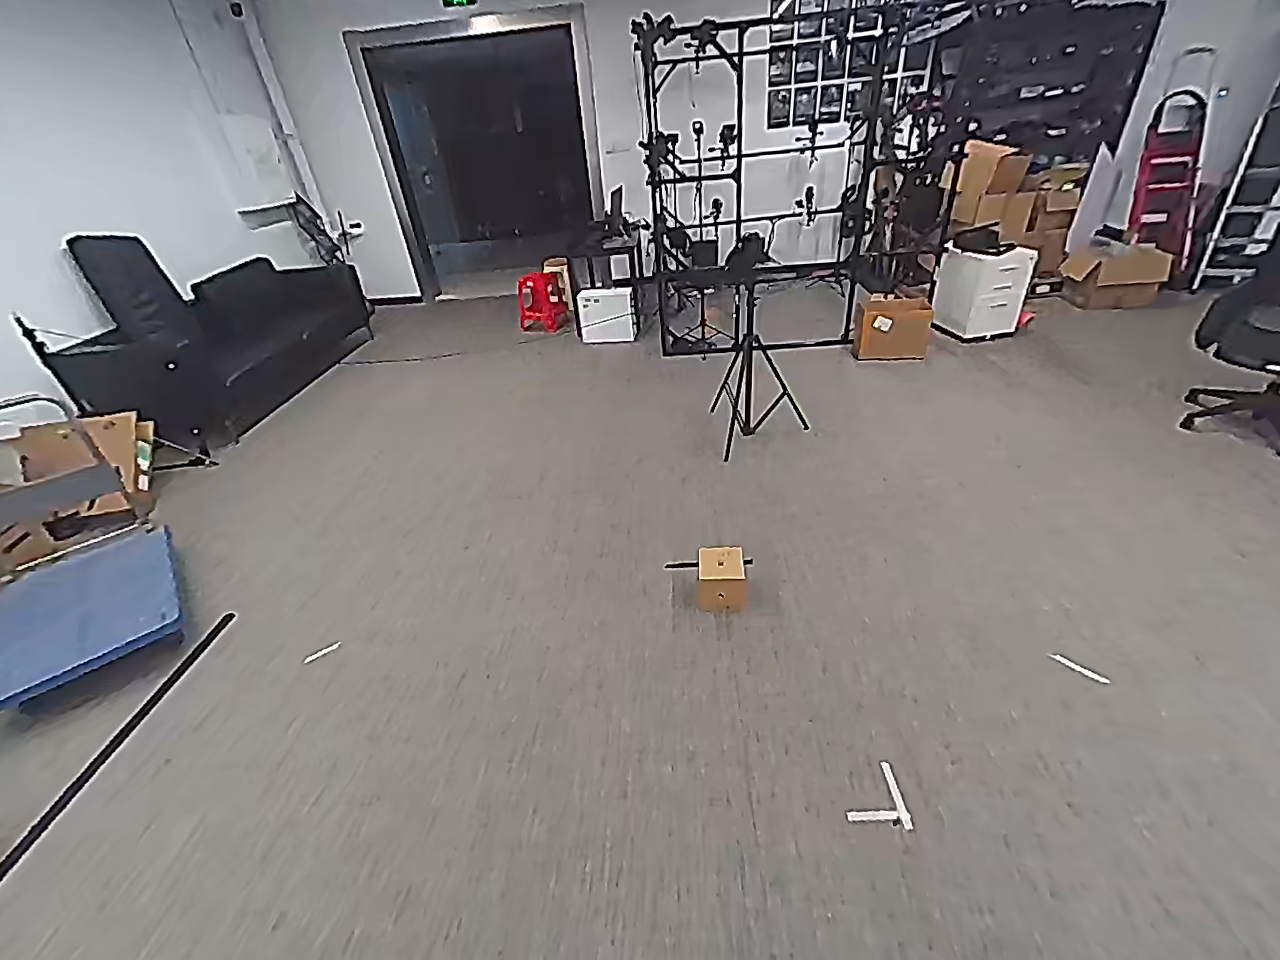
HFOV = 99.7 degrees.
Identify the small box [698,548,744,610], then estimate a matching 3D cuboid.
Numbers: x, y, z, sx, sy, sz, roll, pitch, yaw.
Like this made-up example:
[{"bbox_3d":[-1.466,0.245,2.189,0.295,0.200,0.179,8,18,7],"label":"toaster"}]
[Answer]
[{"bbox_3d":[0.309,0.379,2.062,0.168,0.176,0.179,-1,33,7],"label":"small box"}]
